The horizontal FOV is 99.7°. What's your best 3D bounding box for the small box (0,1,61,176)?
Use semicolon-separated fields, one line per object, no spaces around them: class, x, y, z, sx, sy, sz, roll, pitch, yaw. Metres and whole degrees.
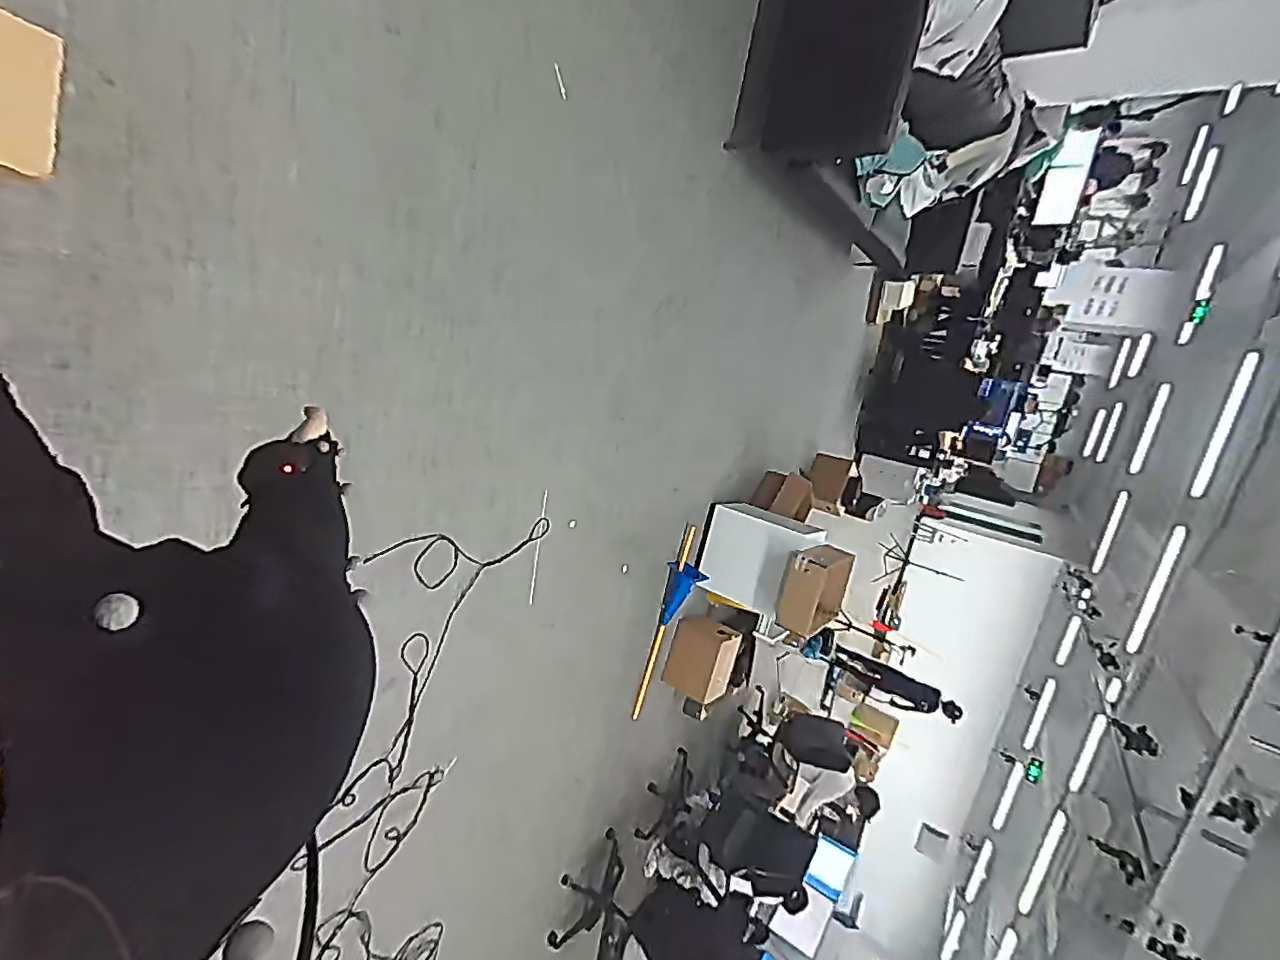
small box;-0.848;-0.497;0.657;0.168;0.176;0.179;1;105;-56
